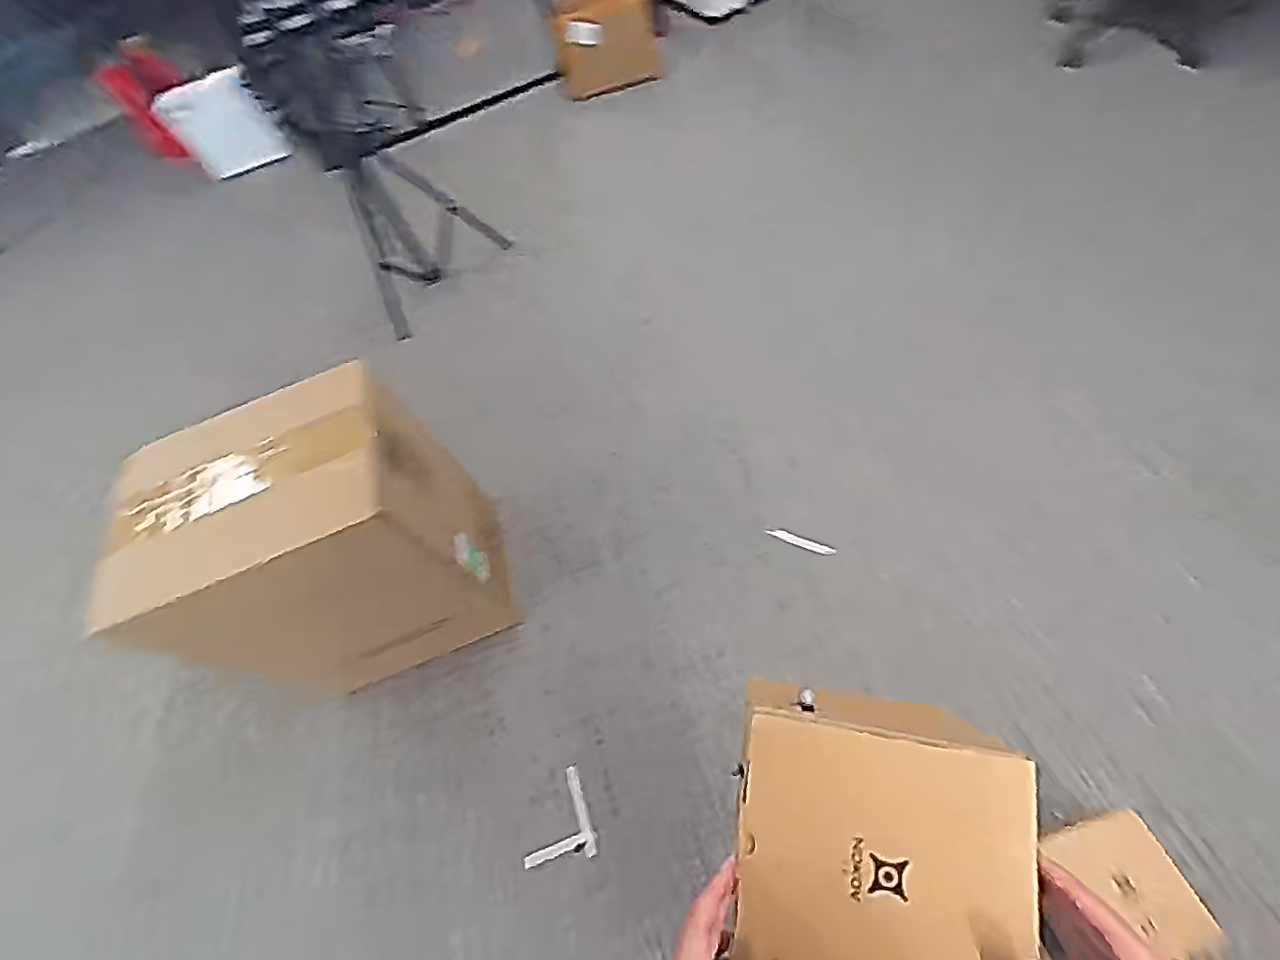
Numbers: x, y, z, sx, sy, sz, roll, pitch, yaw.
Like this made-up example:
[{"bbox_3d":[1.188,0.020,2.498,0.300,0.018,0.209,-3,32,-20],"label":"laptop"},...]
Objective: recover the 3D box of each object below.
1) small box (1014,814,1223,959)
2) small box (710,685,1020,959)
[{"bbox_3d":[0.734,0.663,0.870,0.168,0.176,0.179,-21,56,2],"label":"small box"},{"bbox_3d":[0.151,0.260,0.411,0.179,0.176,0.168,4,77,12],"label":"small box"}]
